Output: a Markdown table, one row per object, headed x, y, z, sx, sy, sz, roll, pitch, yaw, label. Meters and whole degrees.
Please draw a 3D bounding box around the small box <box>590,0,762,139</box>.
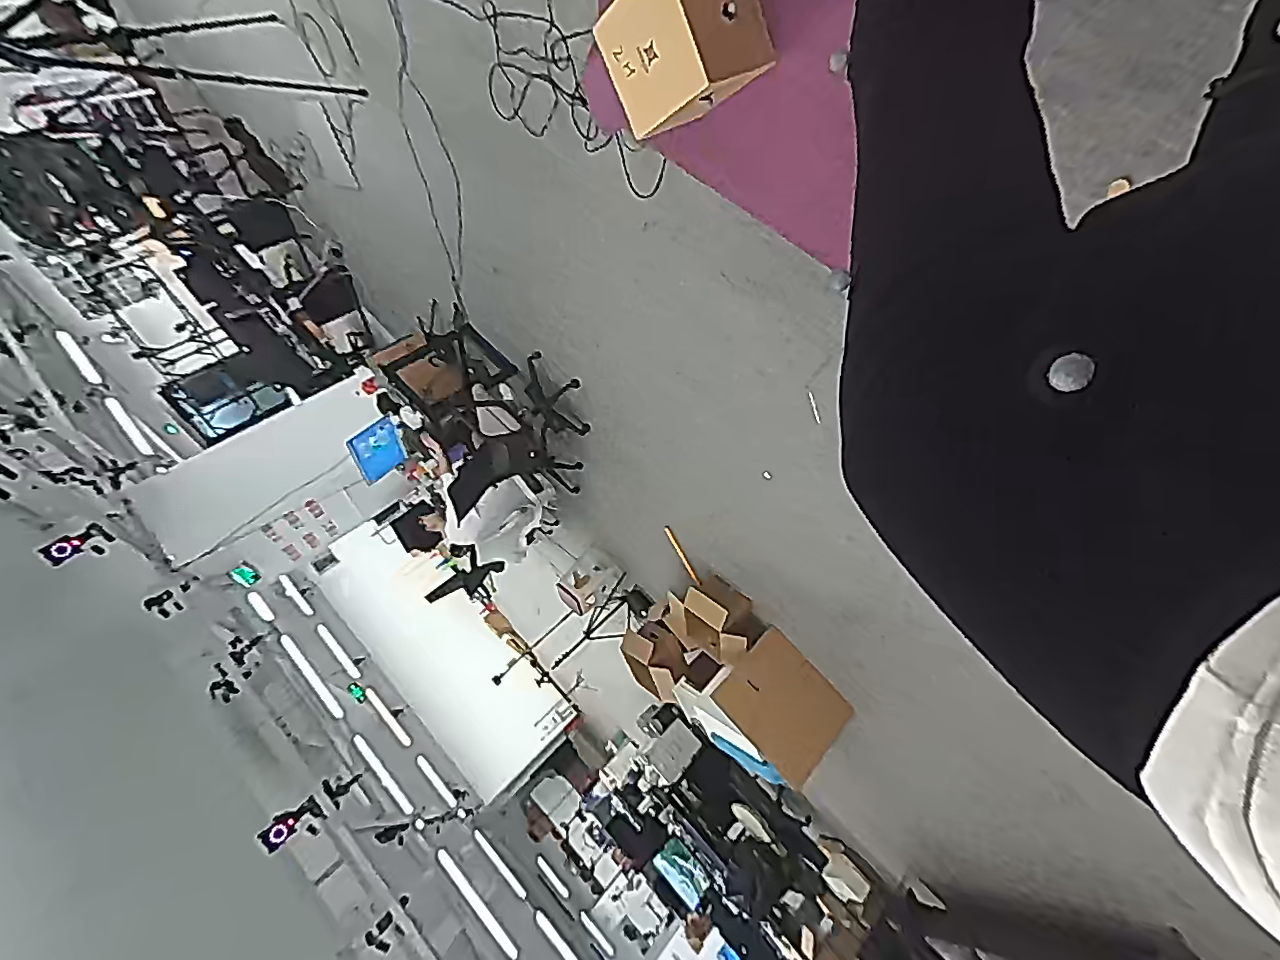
| x | y | z | sx | sy | sz | roll | pitch | yaw | label |
| --- | --- | --- | --- | --- | --- | --- | --- | --- | --- |
| 0.062 | -0.663 | 0.822 | 0.179 | 0.176 | 0.168 | 5 | 128 | 53 | small box |
